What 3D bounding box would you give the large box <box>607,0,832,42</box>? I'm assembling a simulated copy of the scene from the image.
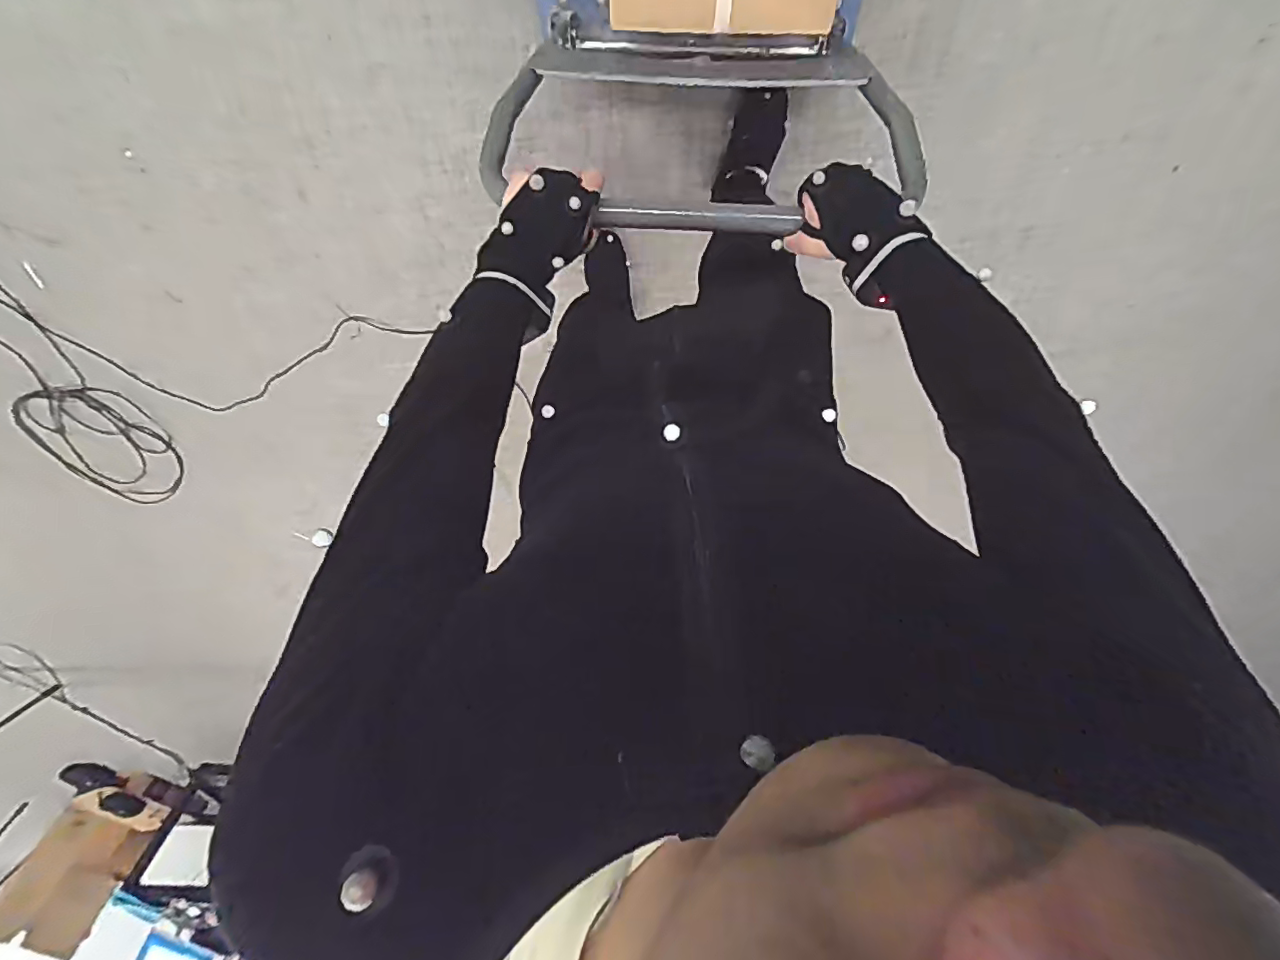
[{"bbox_3d":[0.117,-0.875,0.743,0.320,0.320,0.408,2,135,1],"label":"large box"}]
